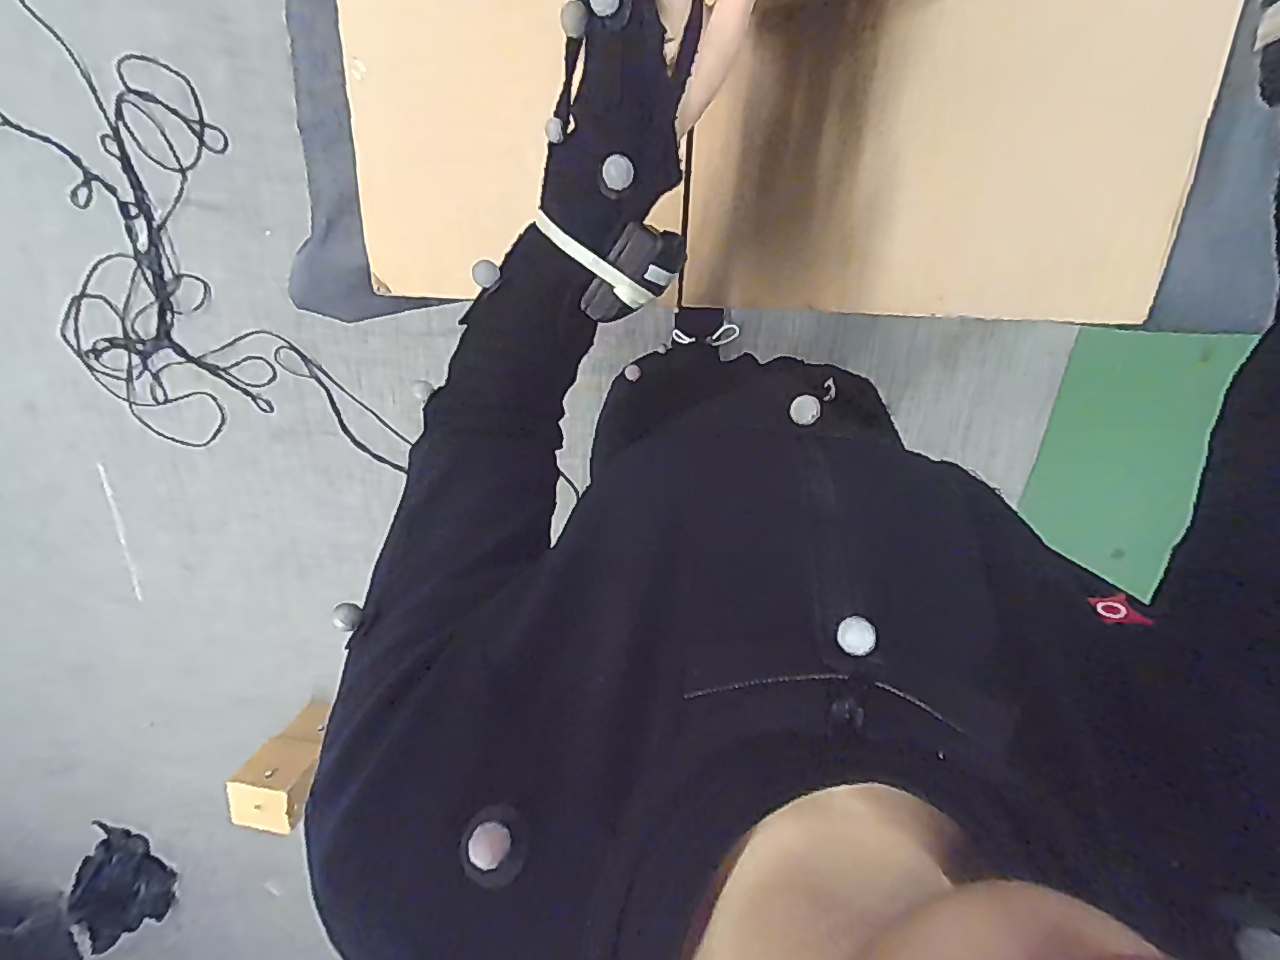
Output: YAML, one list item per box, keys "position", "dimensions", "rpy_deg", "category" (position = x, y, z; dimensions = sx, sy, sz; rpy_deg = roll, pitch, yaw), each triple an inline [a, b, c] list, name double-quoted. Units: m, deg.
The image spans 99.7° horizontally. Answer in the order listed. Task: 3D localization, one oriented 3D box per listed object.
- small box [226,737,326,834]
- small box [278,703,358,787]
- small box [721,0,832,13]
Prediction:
- position: [-1.055, 0.884, 1.578]
  dimensions: [0.179, 0.176, 0.168]
  rpy_deg: [9, 110, 2]
  category: "small box"
- position: [-1.028, 0.843, 1.734]
  dimensions: [0.179, 0.176, 0.168]
  rpy_deg: [9, 110, 2]
  category: "small box"
- position: [0.131, -0.404, 0.294]
  dimensions: [0.179, 0.176, 0.168]
  rpy_deg: [-4, 105, 6]
  category: "small box"
